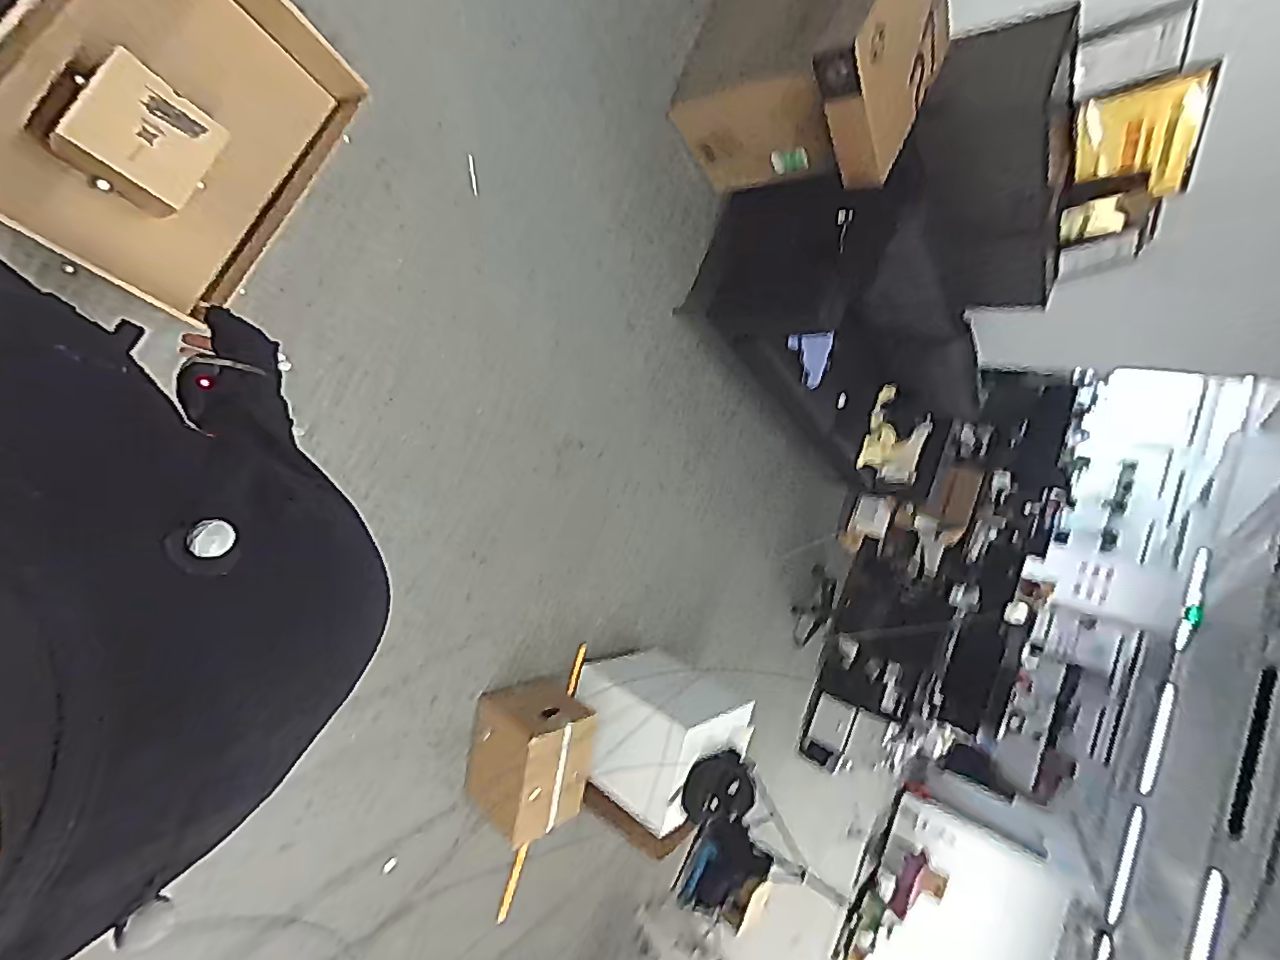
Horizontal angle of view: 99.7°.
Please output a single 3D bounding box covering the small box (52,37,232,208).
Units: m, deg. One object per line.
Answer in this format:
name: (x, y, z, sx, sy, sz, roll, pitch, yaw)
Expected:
small box: (-0.863, -0.604, 0.937, 0.168, 0.176, 0.179, 37, 74, -50)
